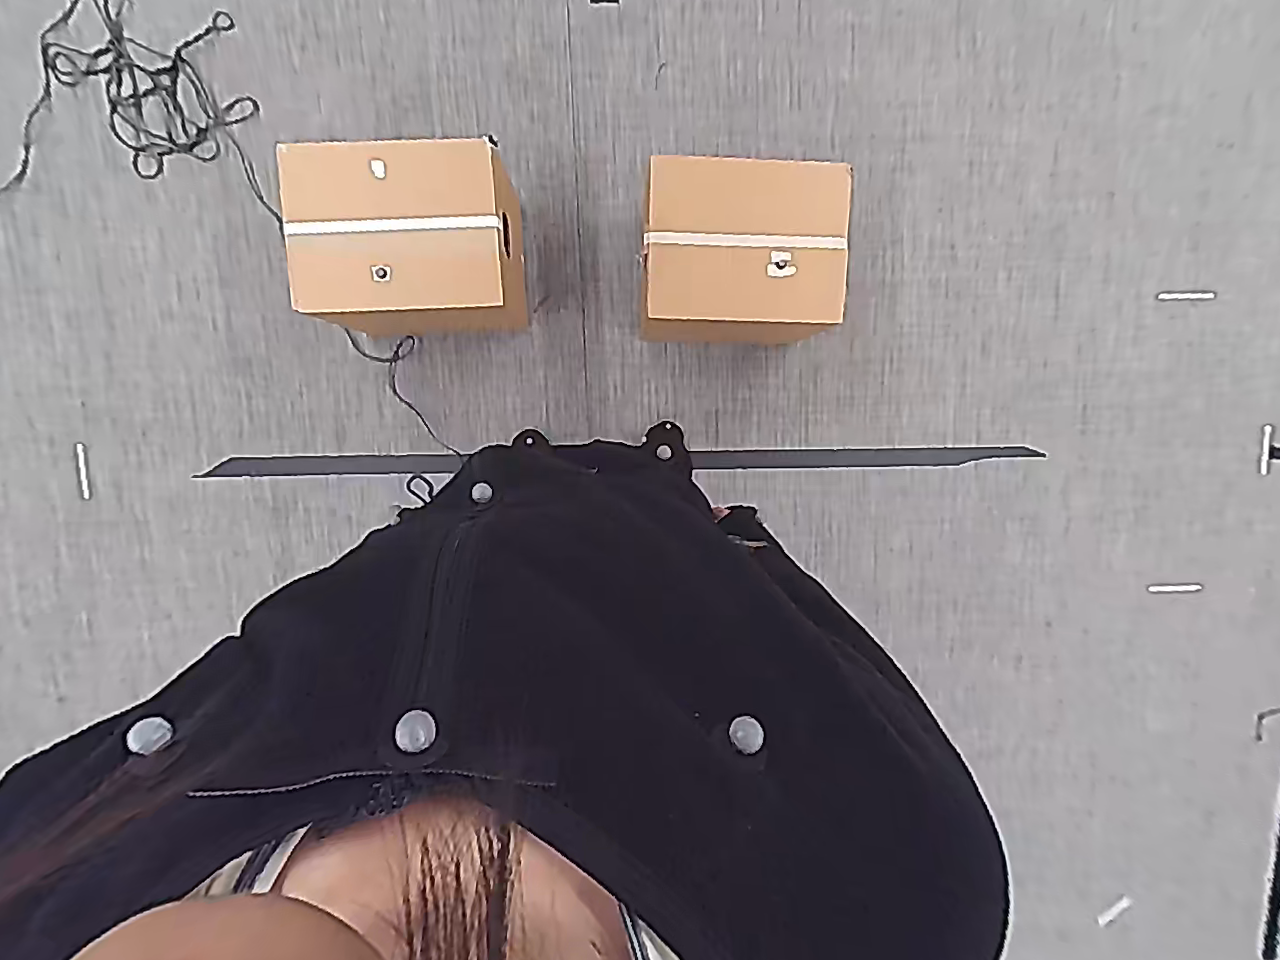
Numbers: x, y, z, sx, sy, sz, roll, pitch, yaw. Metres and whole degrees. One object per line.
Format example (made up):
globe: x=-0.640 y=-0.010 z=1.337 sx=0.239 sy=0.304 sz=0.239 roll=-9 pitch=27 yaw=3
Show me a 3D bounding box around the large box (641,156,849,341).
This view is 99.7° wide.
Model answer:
large box: x=0.209 y=-0.499 z=1.235 sx=0.408 sy=0.320 sz=0.320 roll=1 pitch=97 yaw=-4
